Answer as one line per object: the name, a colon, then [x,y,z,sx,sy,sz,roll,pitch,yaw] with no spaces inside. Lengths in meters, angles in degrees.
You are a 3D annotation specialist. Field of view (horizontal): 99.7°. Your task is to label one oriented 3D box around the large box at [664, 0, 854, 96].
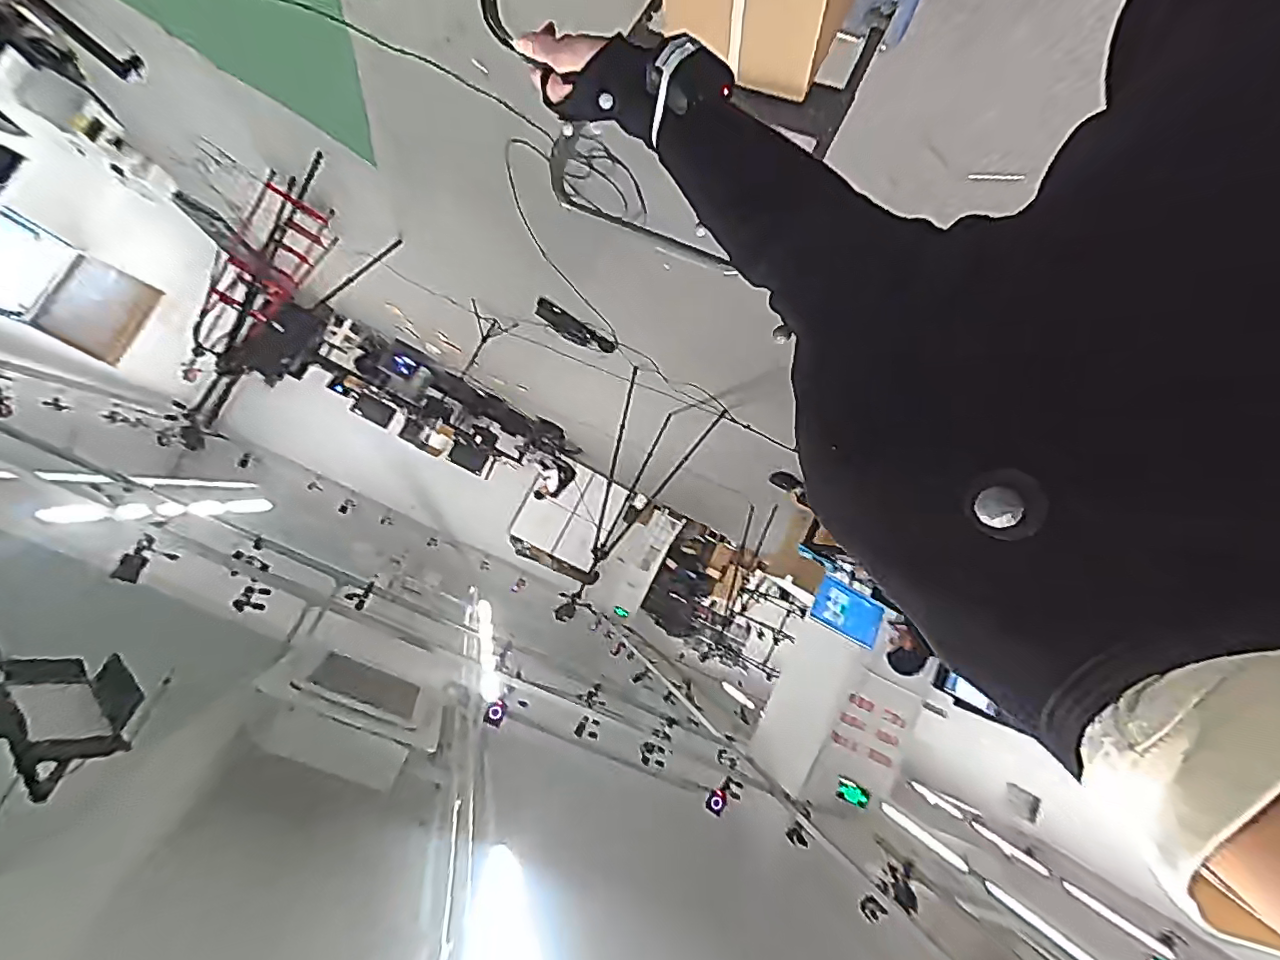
large box: [0.243,-1.007,0.943,0.320,0.320,0.408,25,169,10]
